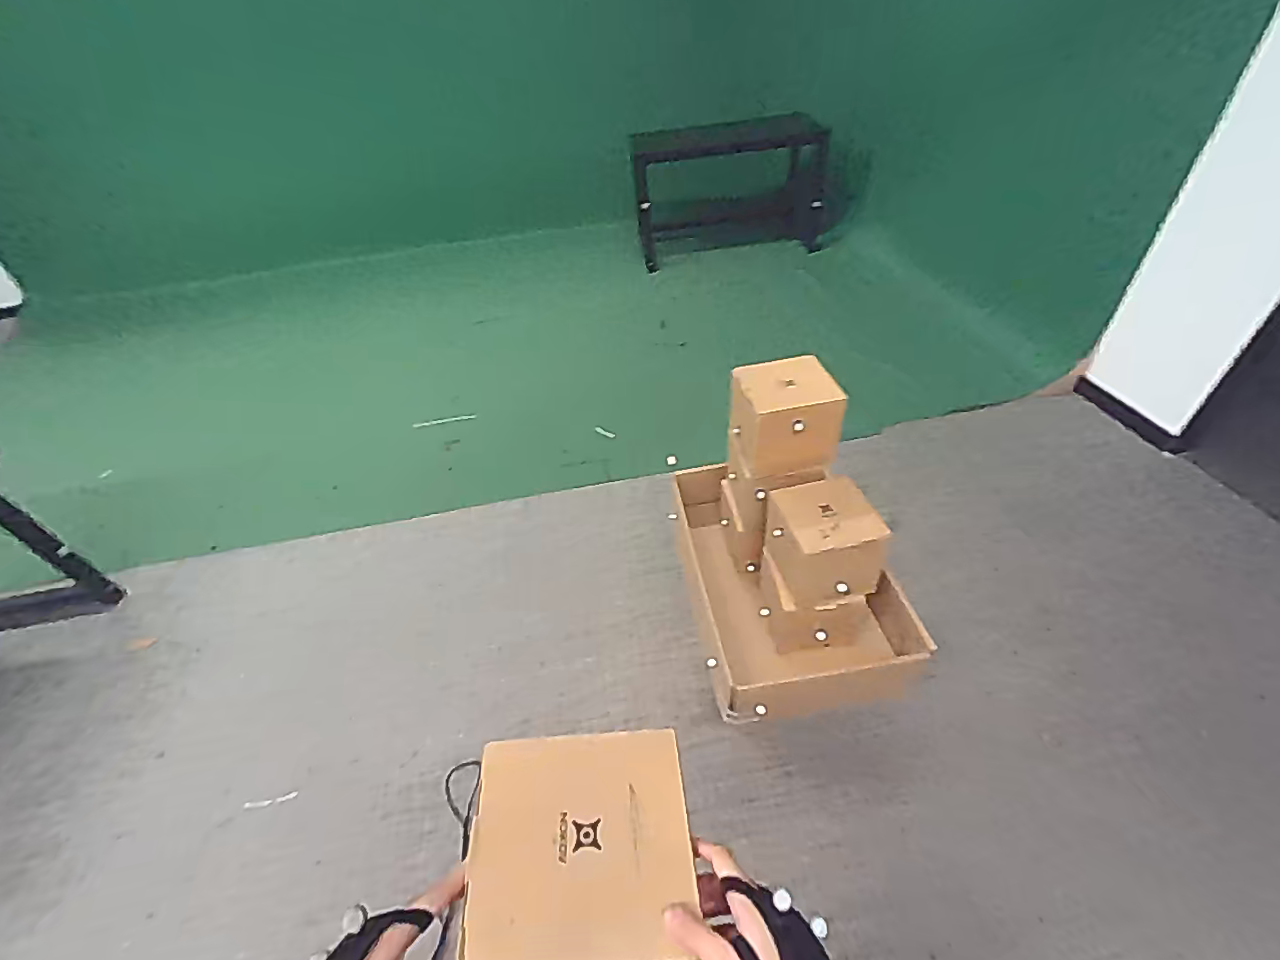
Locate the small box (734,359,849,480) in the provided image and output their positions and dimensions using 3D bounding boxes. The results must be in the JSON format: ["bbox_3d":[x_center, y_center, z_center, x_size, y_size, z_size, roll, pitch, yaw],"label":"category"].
[{"bbox_3d":[0.300,-0.123,1.115,0.179,0.176,0.168,-11,43,-3],"label":"small box"}]

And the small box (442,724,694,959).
[{"bbox_3d":[-0.053,0.342,0.476,0.179,0.176,0.168,-3,37,-4],"label":"small box"}]
